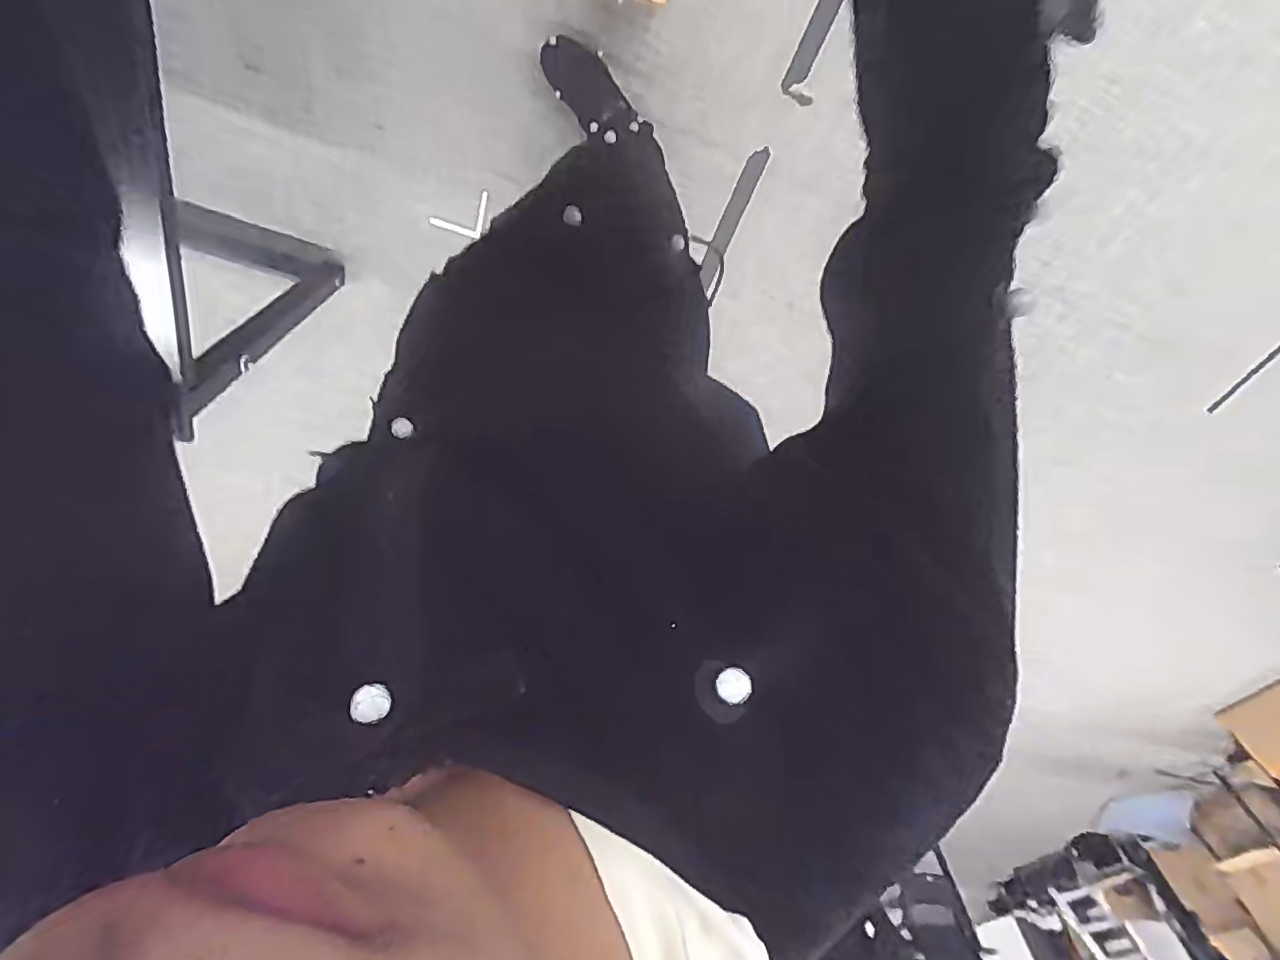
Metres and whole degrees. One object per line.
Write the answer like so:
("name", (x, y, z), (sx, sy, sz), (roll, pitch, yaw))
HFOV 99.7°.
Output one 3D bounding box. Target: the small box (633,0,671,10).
("small box", (0.002, -1.022, 1.011), (0.168, 0.176, 0.179), (14, 127, -13))
